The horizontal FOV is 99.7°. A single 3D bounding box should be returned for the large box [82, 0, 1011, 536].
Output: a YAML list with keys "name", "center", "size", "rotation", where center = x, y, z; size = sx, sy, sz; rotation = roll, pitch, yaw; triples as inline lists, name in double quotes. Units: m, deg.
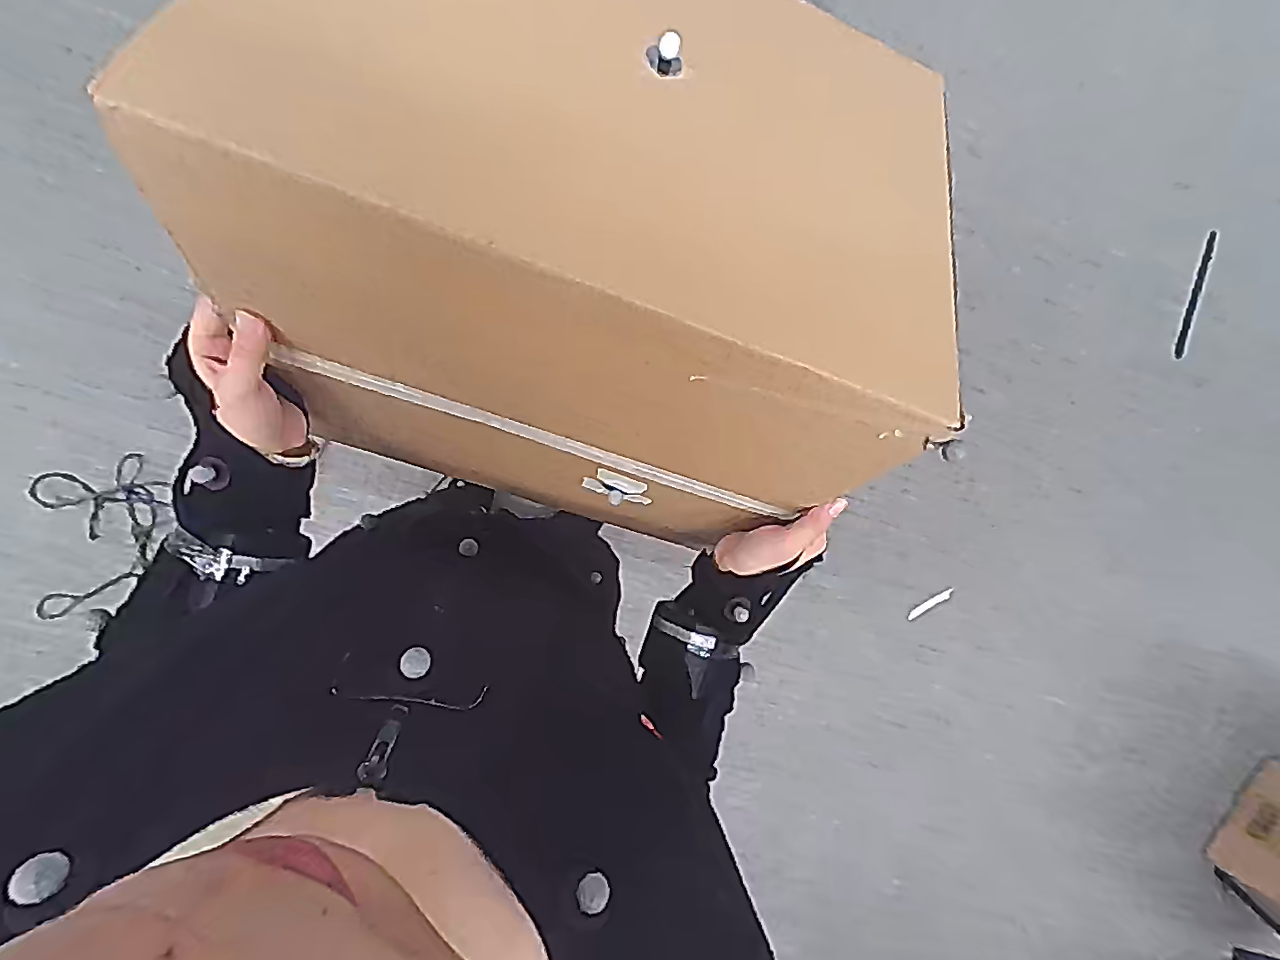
- name: "large box"
  center: [-0.025, -0.185, 0.414]
  size: [0.408, 0.320, 0.320]
  rotation: [16, 67, -11]
